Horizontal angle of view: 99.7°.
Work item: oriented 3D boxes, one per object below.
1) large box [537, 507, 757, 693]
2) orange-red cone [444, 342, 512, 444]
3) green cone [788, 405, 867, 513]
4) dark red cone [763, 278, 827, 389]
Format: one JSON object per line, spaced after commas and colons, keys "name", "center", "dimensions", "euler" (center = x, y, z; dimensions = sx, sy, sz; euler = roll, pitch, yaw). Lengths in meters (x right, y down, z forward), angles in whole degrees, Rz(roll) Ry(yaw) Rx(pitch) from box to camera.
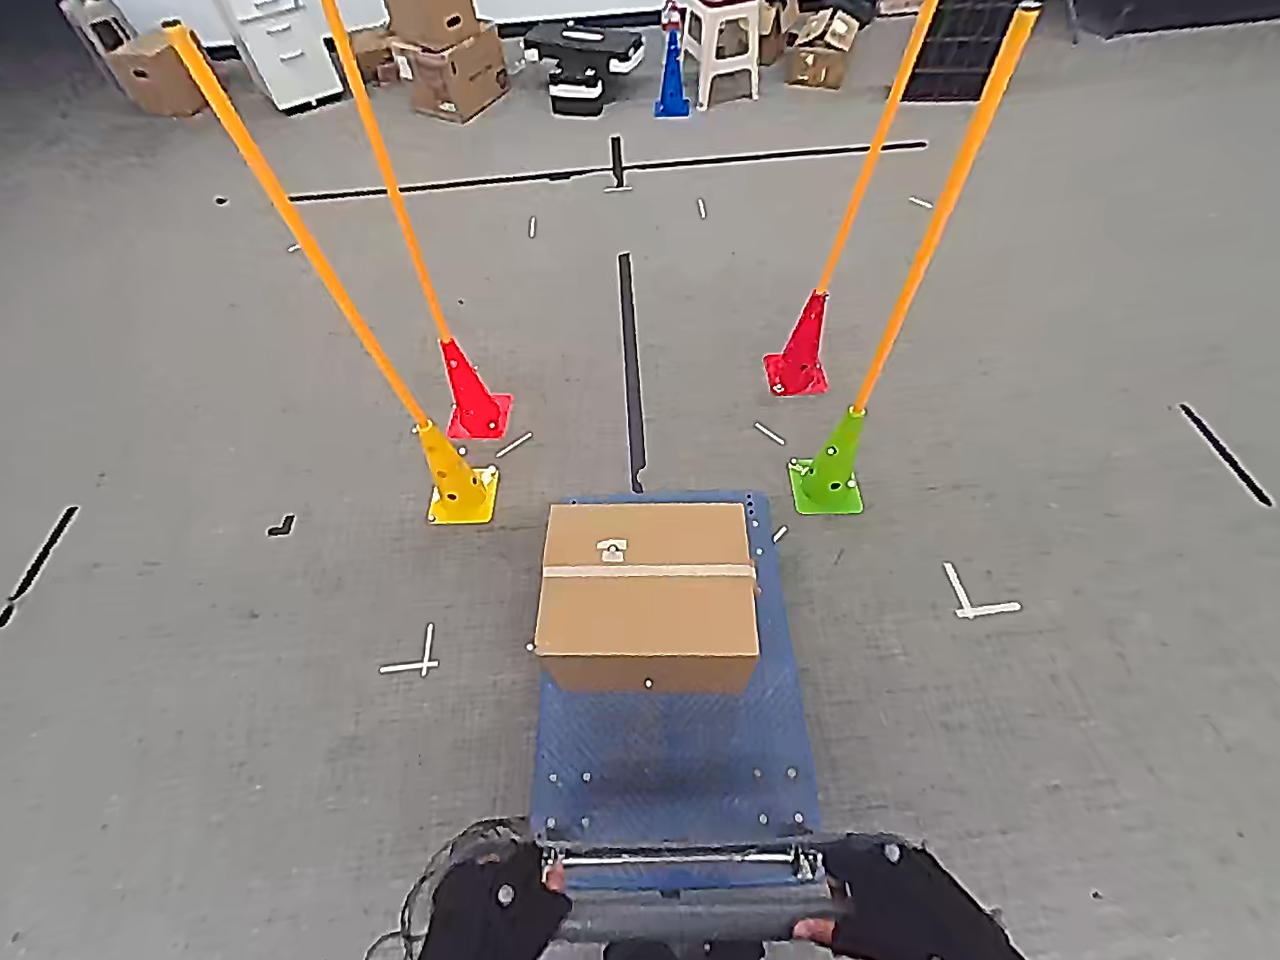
{"name": "large box", "center": [0.021, 0.272, 1.171], "dimensions": [0.408, 0.320, 0.320], "euler": [-2, 56, 4]}
{"name": "orange-red cone", "center": [-0.568, -0.305, 1.766], "dimensions": [0.198, 0.360, 0.199], "euler": [2, 55, 3]}
{"name": "green cone", "center": [0.568, -0.077, 1.544], "dimensions": [0.202, 0.368, 0.200], "euler": [-1, 56, 1]}
{"name": "dark red cone", "center": [0.551, -0.490, 1.798], "dimensions": [0.201, 0.394, 0.202], "euler": [-4, 57, -2]}
